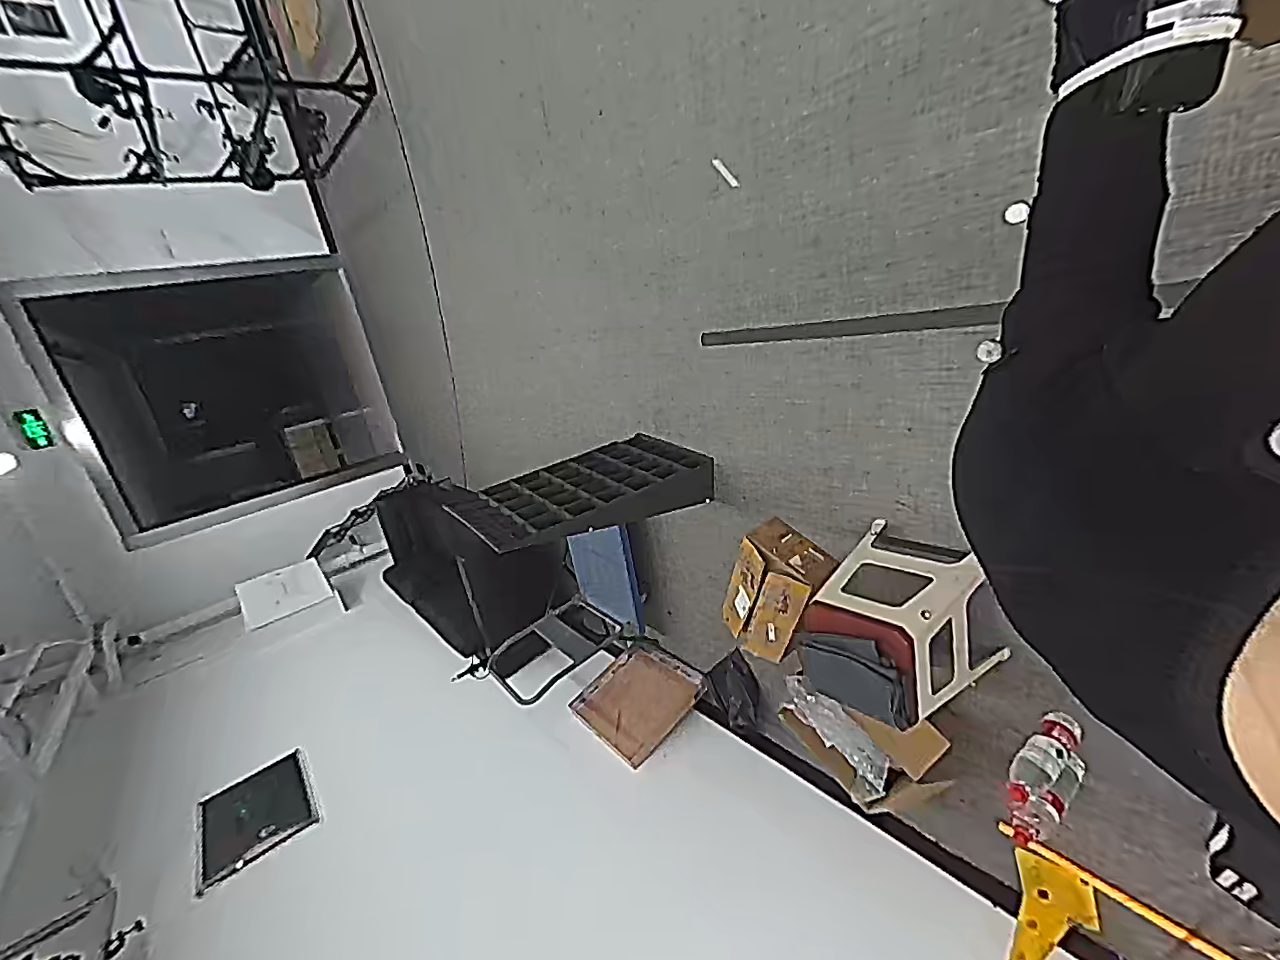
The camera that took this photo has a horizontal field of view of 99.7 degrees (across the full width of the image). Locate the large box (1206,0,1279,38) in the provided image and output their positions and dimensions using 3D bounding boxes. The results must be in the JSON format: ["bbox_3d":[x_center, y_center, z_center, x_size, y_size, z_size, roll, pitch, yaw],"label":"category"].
[{"bbox_3d":[0.556,-0.489,0.236,0.408,0.320,0.320,9,119,52],"label":"large box"}]
